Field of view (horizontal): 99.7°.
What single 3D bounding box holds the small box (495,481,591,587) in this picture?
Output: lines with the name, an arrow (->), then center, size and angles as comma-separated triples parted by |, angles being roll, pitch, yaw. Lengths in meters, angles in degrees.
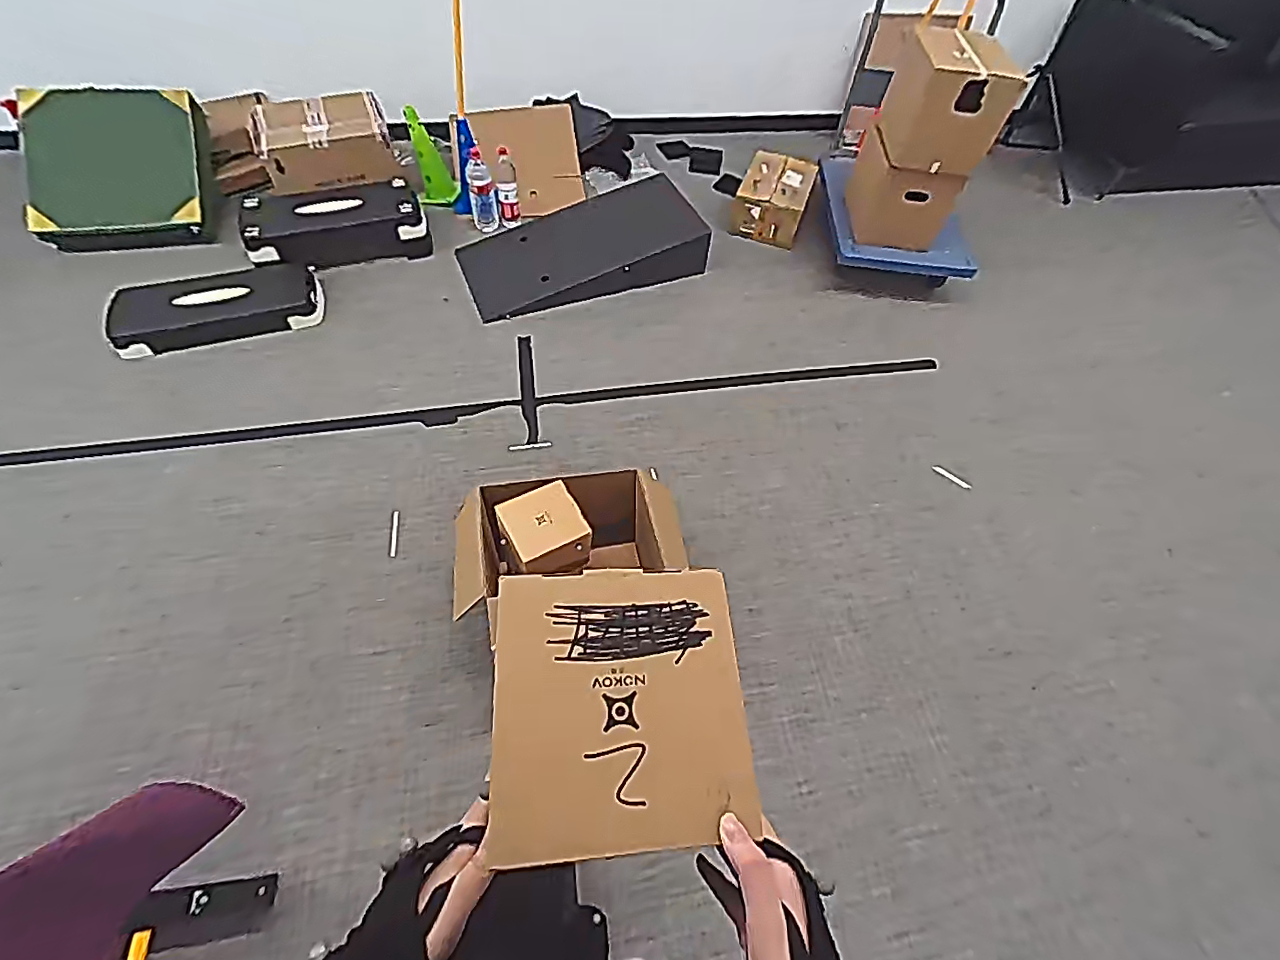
small box -> -0.235, 0.137, 1.326 | 0.179, 0.176, 0.168 | -23, 63, -23
